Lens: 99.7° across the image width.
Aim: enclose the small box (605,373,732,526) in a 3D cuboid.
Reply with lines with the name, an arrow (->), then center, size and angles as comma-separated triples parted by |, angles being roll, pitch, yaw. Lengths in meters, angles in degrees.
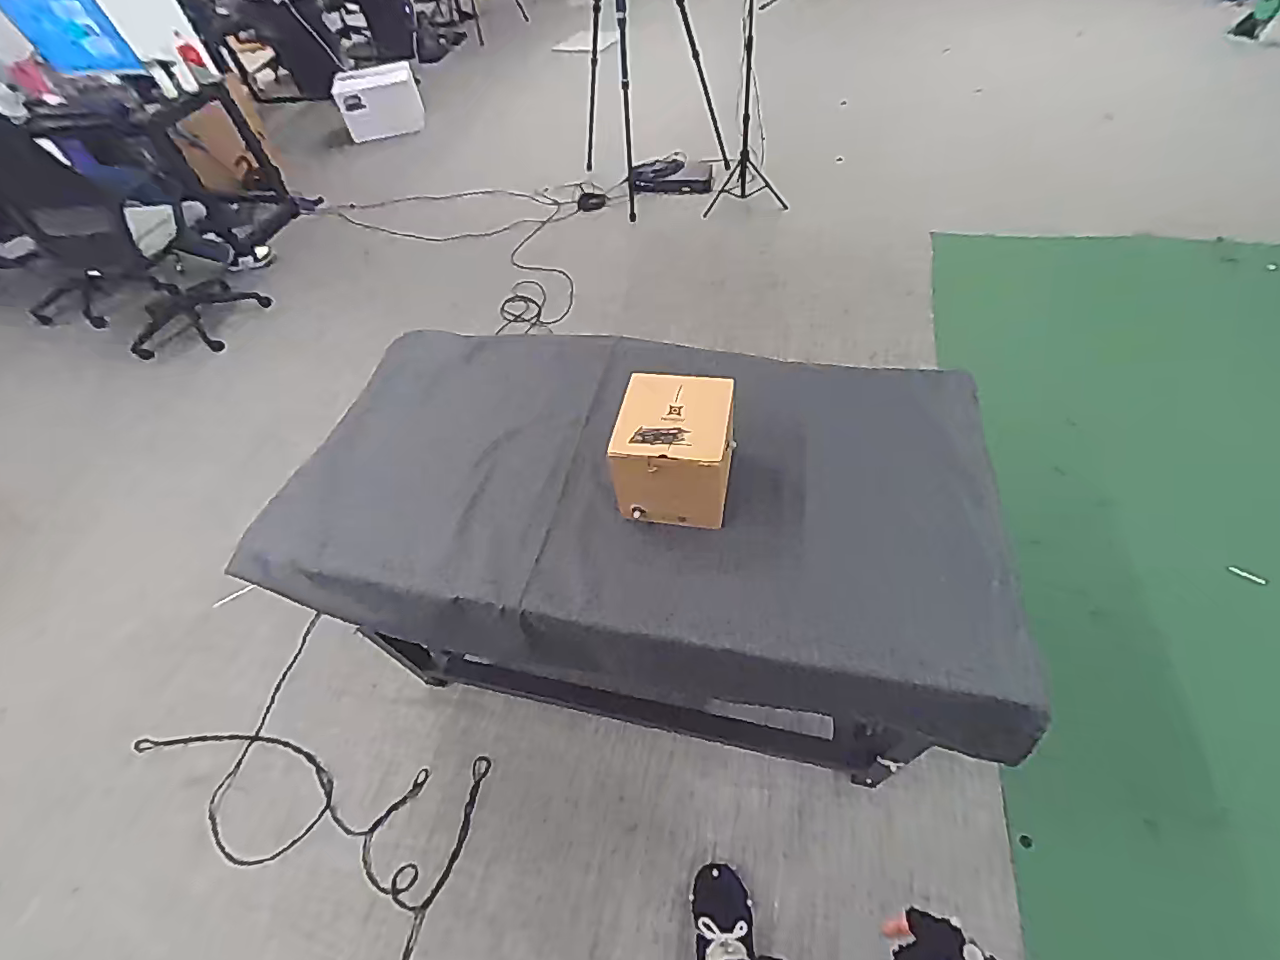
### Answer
small box -> 0.055, -0.046, 0.862 | 0.168, 0.176, 0.179 | 6, 52, 12
